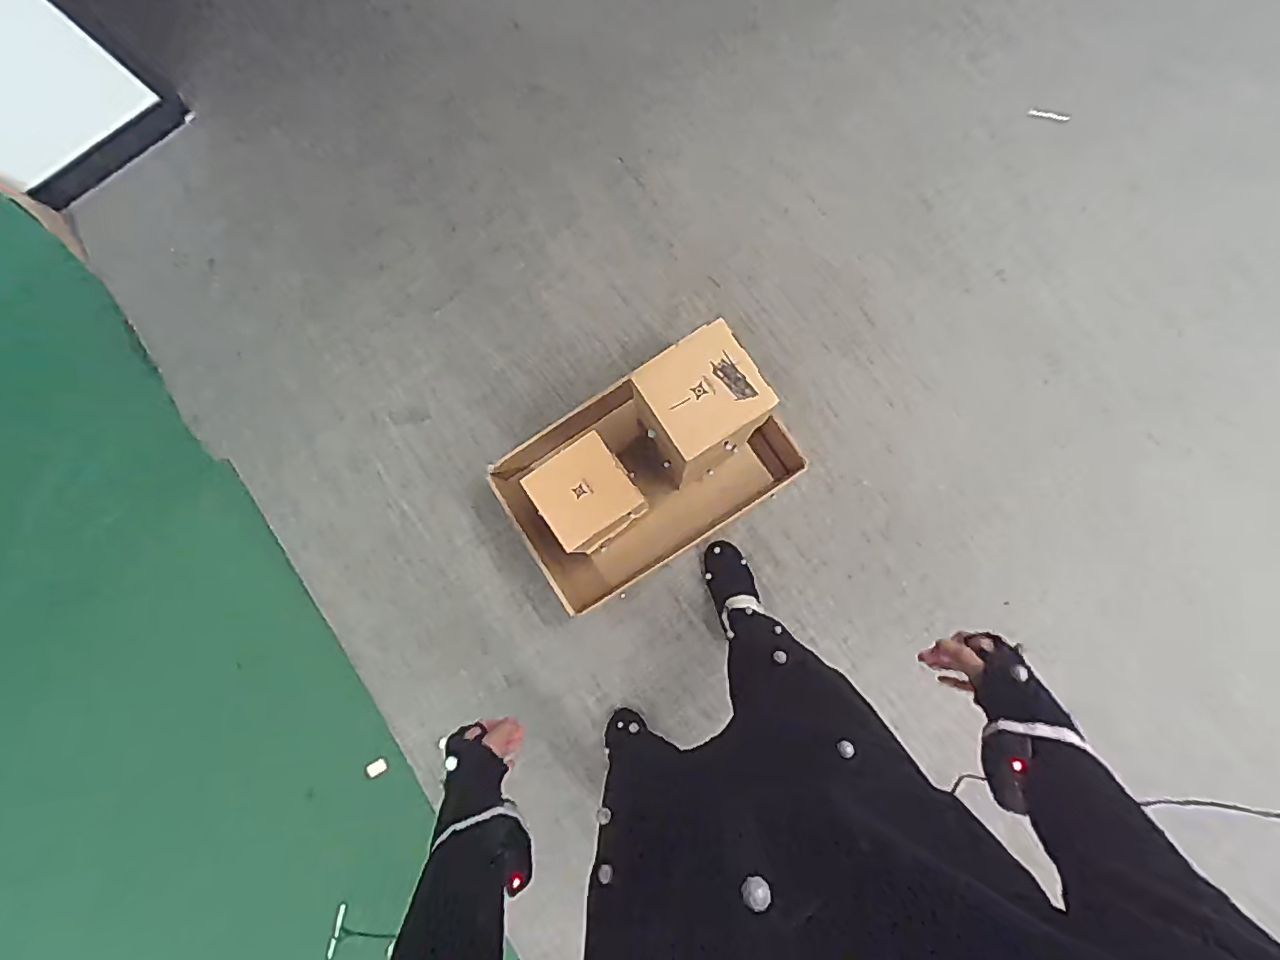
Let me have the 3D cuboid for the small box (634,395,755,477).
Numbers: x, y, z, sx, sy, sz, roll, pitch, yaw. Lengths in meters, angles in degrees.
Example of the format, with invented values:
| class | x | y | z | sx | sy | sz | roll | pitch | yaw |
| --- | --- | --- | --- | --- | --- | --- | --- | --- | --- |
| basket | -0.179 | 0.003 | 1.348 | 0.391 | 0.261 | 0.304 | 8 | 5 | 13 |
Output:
| class | x | y | z | sx | sy | sz | roll | pitch | yaw |
| --- | --- | --- | --- | --- | --- | --- | --- | --- | --- |
| small box | 0.107 | -0.118 | 1.087 | 0.168 | 0.176 | 0.179 | -33 | 82 | -1 |

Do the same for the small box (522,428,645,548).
| class | x | y | z | sx | sy | sz | roll | pitch | yaw |
| --- | --- | --- | --- | --- | --- | --- | --- | --- | --- |
| small box | -0.103 | 0.025 | 1.085 | 0.179 | 0.176 | 0.168 | -35 | 83 | -2 |

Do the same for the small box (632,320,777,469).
| class | x | y | z | sx | sy | sz | roll | pitch | yaw |
| --- | --- | --- | --- | --- | --- | --- | --- | --- | --- |
| small box | 0.104 | -0.136 | 0.925 | 0.179 | 0.176 | 0.168 | -33 | 83 | 0 |
